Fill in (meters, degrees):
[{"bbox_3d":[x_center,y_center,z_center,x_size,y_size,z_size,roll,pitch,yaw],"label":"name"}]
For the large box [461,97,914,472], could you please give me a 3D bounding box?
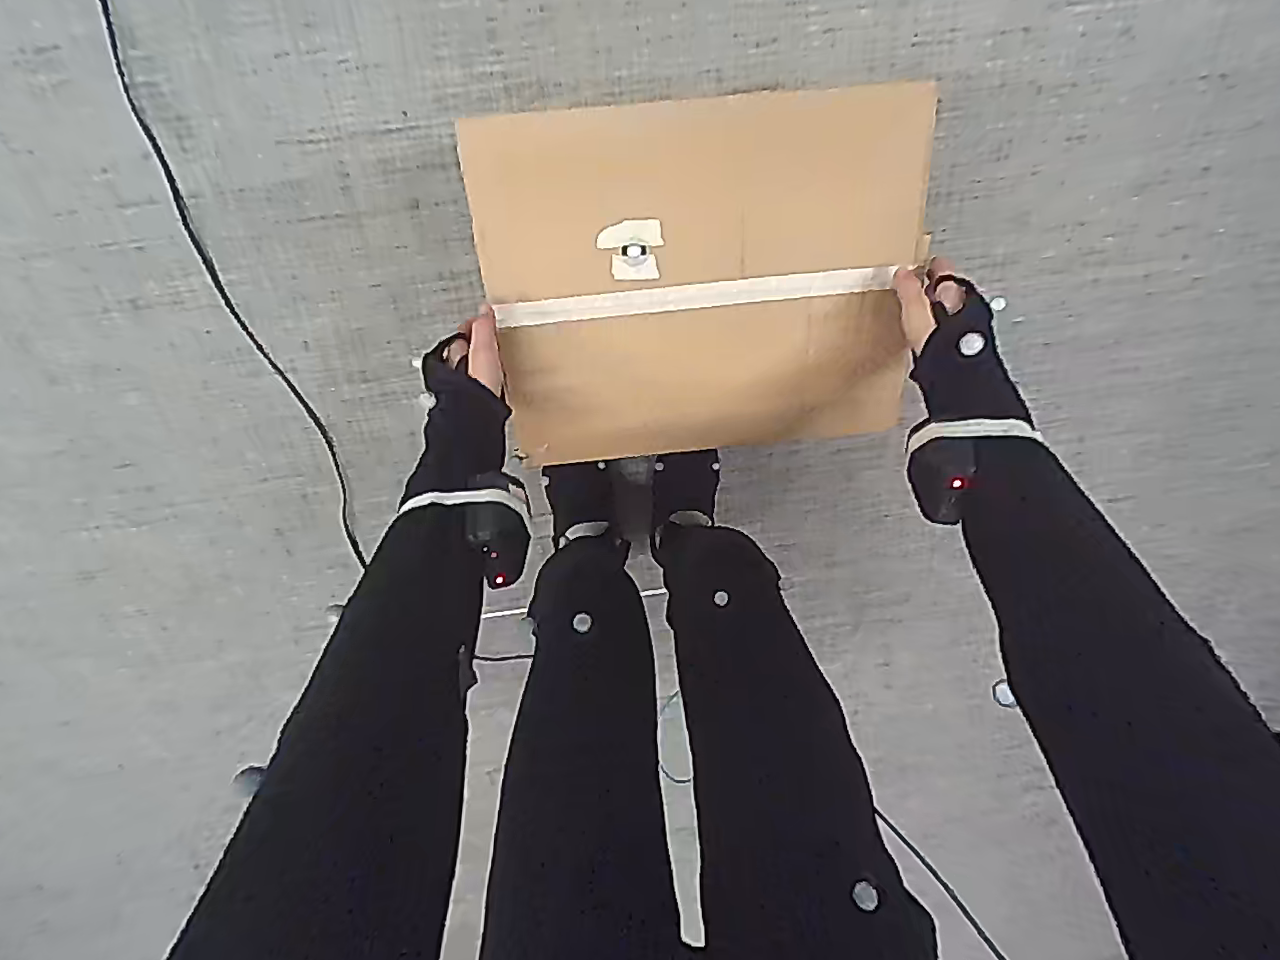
[{"bbox_3d":[0.050,-0.232,0.661,0.408,0.320,0.320,-6,114,-1],"label":"large box"}]
